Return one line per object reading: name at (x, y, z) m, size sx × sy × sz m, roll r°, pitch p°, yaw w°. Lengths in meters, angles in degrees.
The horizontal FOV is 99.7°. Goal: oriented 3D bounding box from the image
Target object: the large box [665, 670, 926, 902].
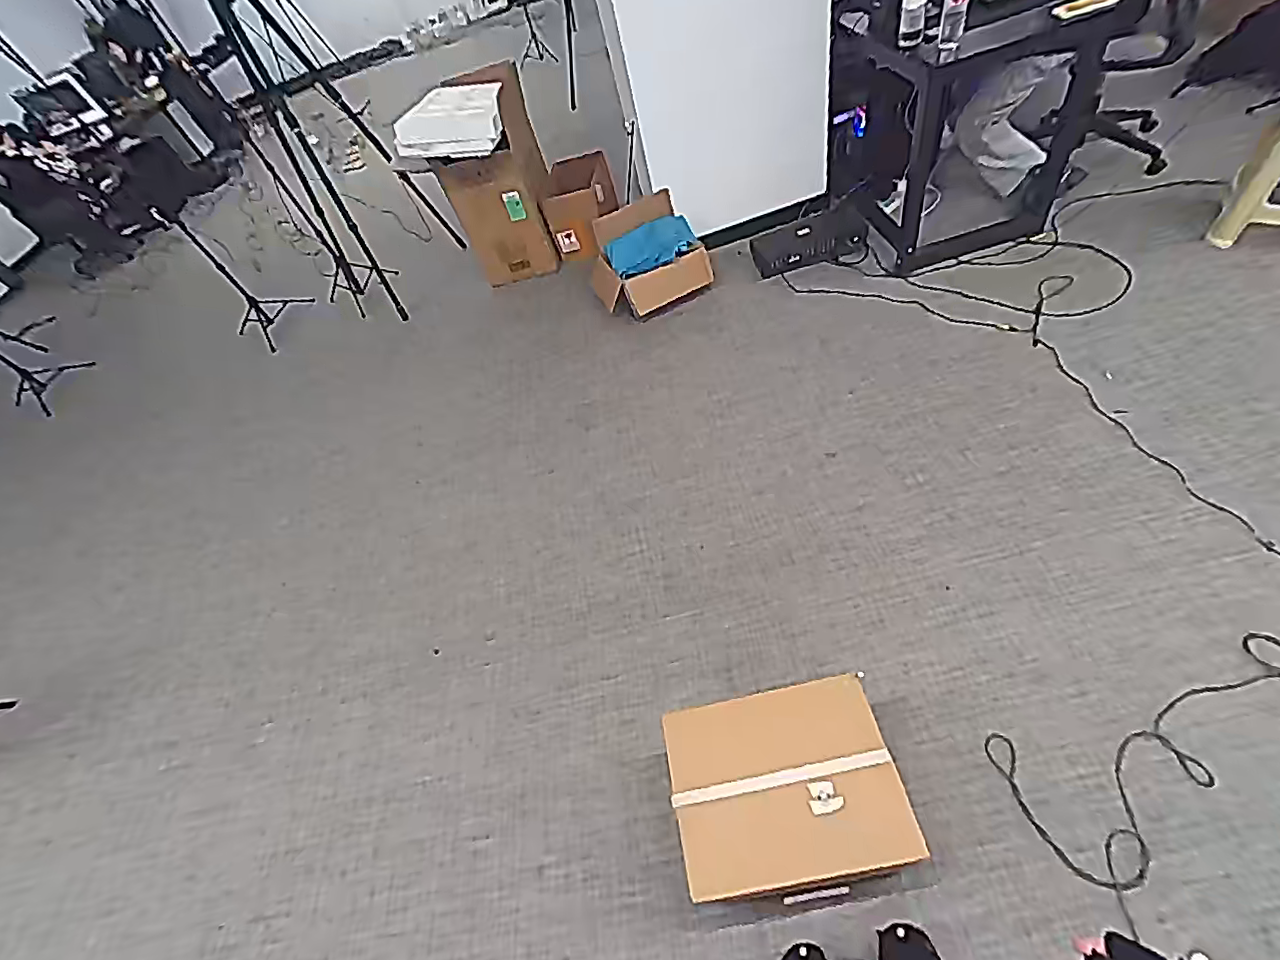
large box at (0.296, 0.639, 1.116) m, size 0.408 × 0.320 × 0.320 m, roll -15°, pitch 50°, yaw 5°
